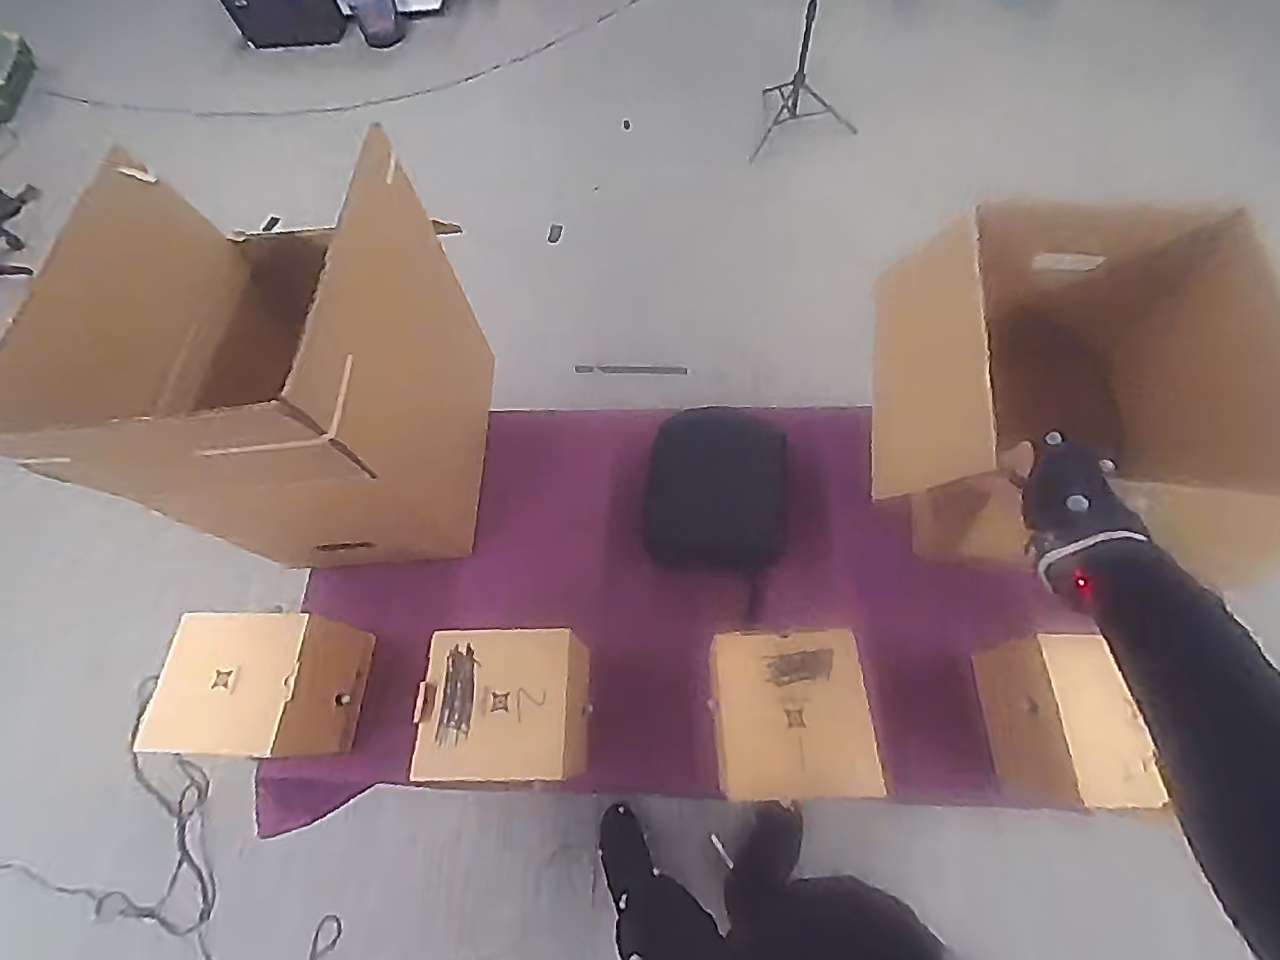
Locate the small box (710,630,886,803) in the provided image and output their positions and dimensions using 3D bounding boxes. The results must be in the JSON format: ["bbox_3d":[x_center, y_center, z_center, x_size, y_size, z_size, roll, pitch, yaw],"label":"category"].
[{"bbox_3d":[0.180,0.294,0.677,0.168,0.176,0.179,-4,65,3],"label":"small box"}]

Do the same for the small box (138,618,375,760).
[{"bbox_3d":[-0.500,0.288,0.738,0.179,0.176,0.168,-1,64,3],"label":"small box"}]

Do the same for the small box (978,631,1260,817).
[{"bbox_3d":[0.540,0.288,0.647,0.168,0.176,0.179,0,64,6],"label":"small box"}]
